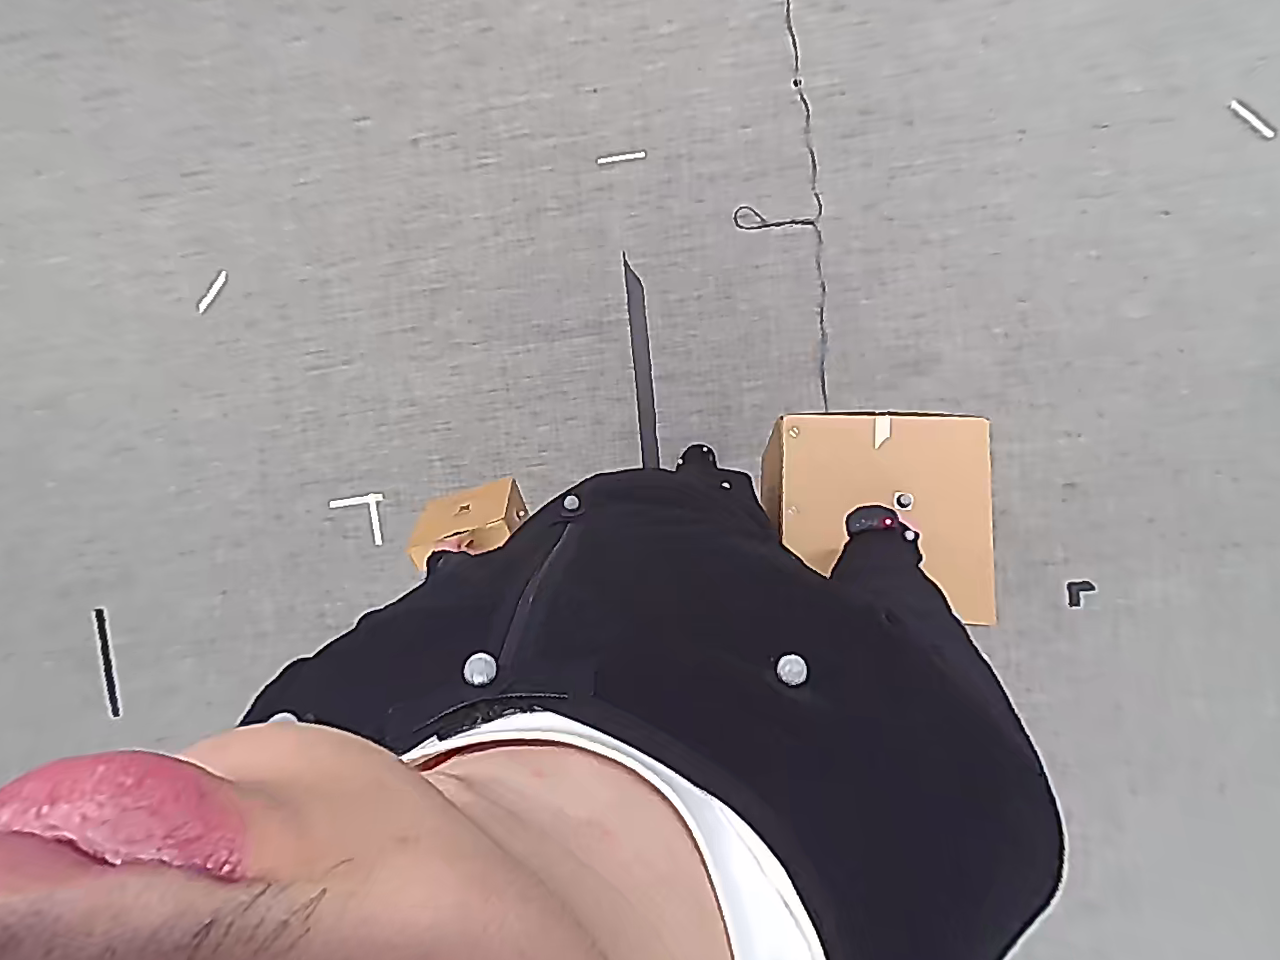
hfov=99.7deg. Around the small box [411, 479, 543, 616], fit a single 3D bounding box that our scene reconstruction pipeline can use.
[{"bbox_3d":[-0.283,0.127,0.984,0.168,0.179,0.176,-16,116,1],"label":"small box"}]
